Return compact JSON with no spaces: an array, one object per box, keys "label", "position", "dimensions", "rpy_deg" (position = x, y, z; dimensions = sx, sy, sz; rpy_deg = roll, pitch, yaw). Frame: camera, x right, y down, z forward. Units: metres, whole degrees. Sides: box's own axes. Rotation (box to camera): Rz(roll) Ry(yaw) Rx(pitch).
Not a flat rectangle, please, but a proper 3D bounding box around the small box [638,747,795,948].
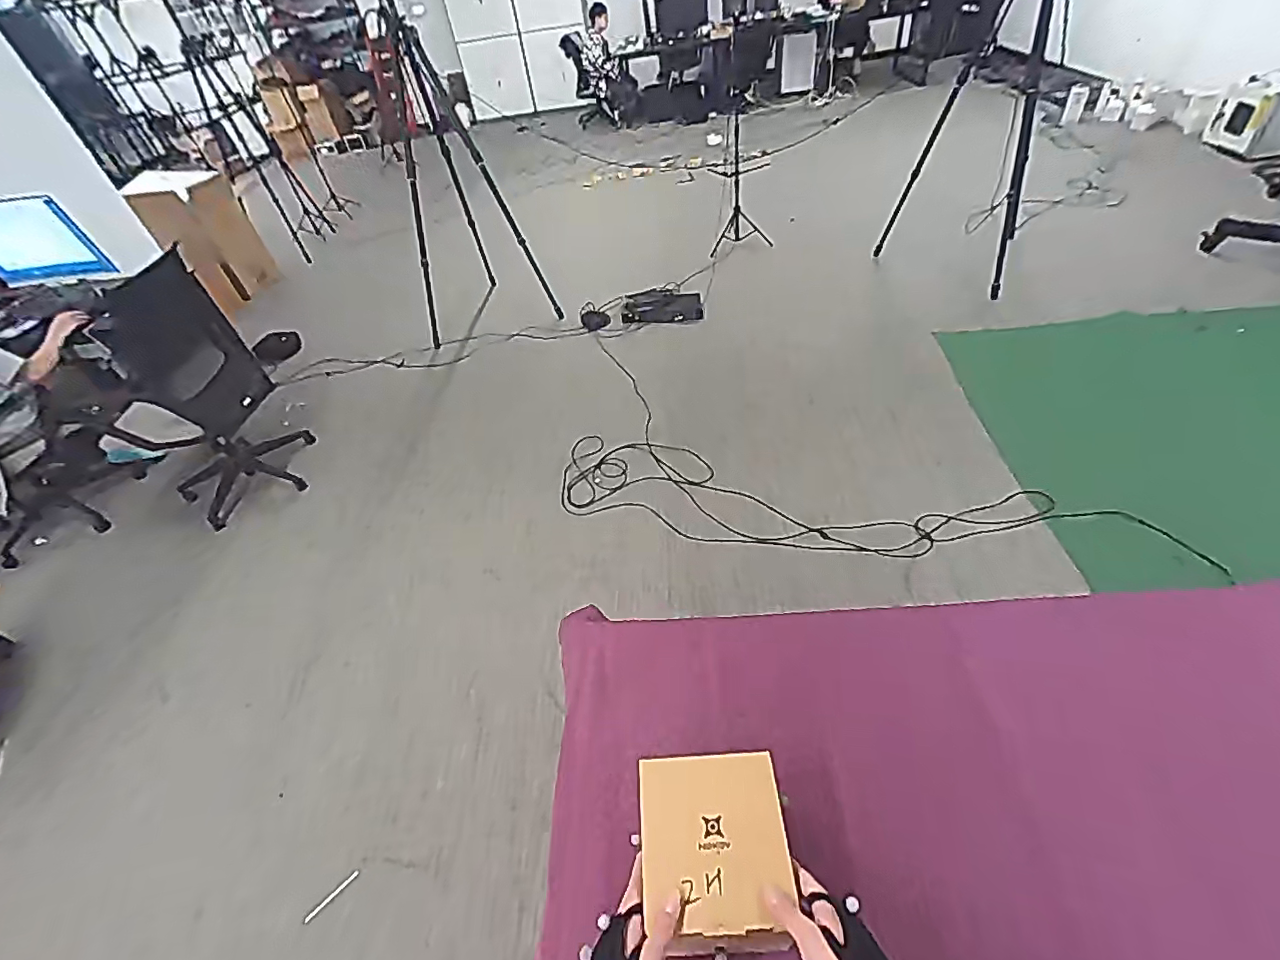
[{"label":"small box","position":[0.084,0.457,0.673],"dimensions":[0.168,0.176,0.179],"rpy_deg":[-4,44,3]}]
